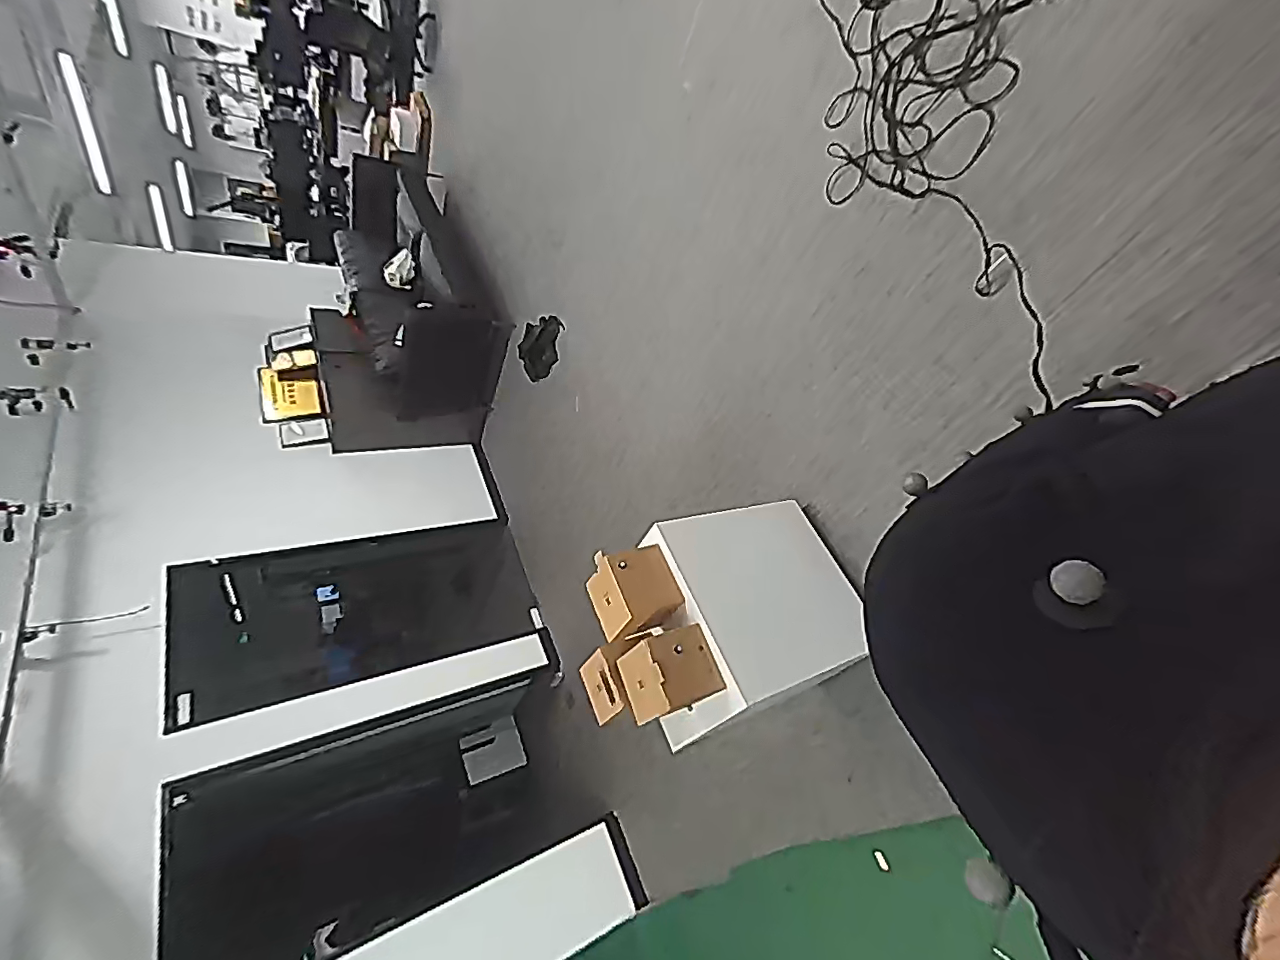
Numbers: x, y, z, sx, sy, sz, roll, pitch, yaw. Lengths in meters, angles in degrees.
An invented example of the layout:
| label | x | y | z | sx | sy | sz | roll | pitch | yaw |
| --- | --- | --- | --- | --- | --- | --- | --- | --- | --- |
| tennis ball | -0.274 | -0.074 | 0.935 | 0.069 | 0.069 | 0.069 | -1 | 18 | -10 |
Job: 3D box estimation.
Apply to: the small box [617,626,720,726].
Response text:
| label | x | y | z | sx | sy | sz | roll | pitch | yaw |
| --- | --- | --- | --- | --- | --- | --- | --- | --- | --- |
| small box | 0.073 | 0.472 | 1.311 | 0.179 | 0.176 | 0.168 | -55 | 50 | 48 |
